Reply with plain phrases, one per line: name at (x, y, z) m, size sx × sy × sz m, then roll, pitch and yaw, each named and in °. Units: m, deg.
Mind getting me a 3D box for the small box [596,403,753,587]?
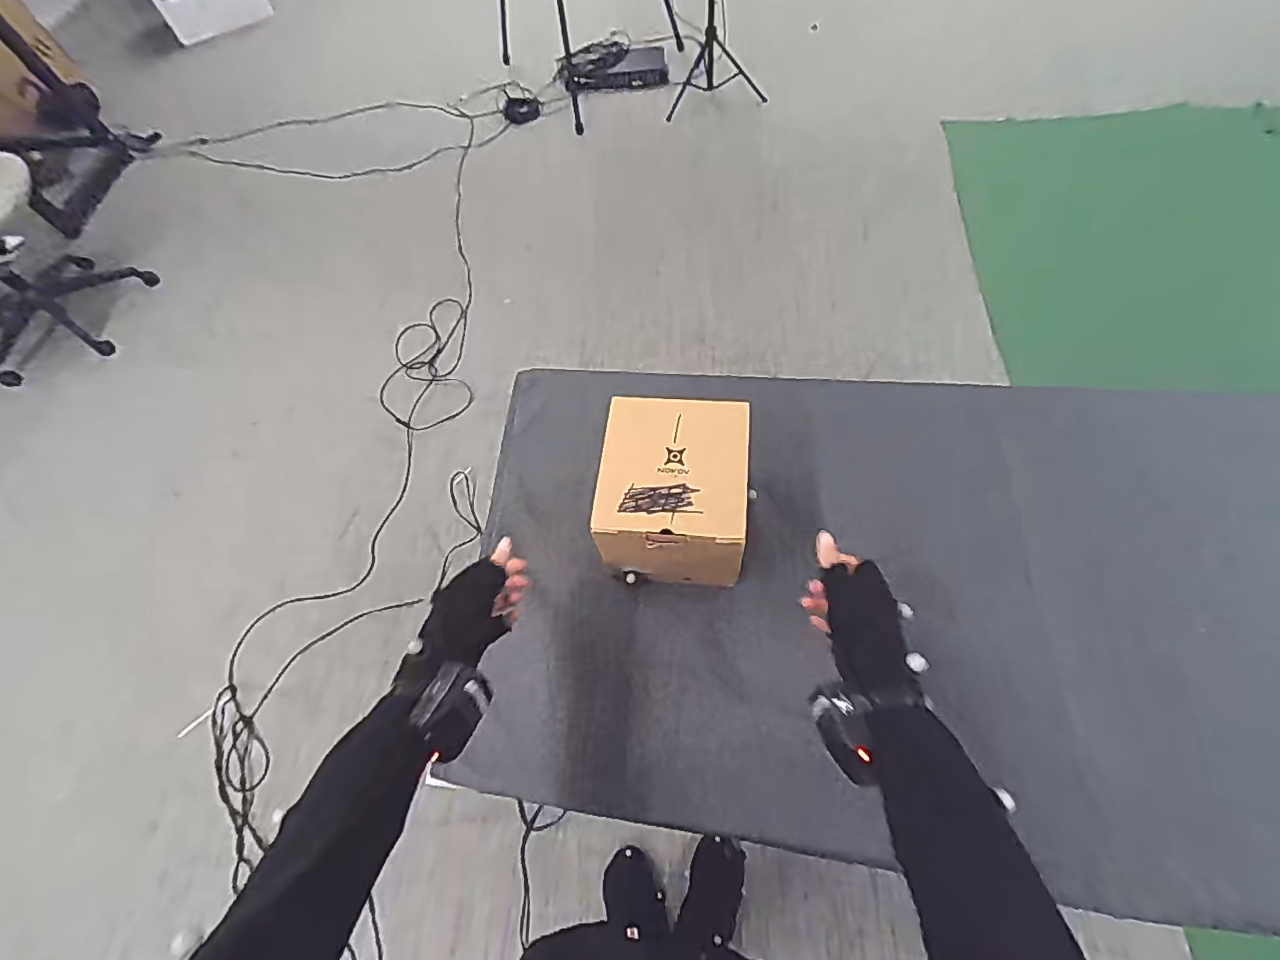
small box at (0.051, 0.025, 0.678) m, size 0.168 × 0.176 × 0.179 m, roll 4°, pitch 62°, yaw 8°
